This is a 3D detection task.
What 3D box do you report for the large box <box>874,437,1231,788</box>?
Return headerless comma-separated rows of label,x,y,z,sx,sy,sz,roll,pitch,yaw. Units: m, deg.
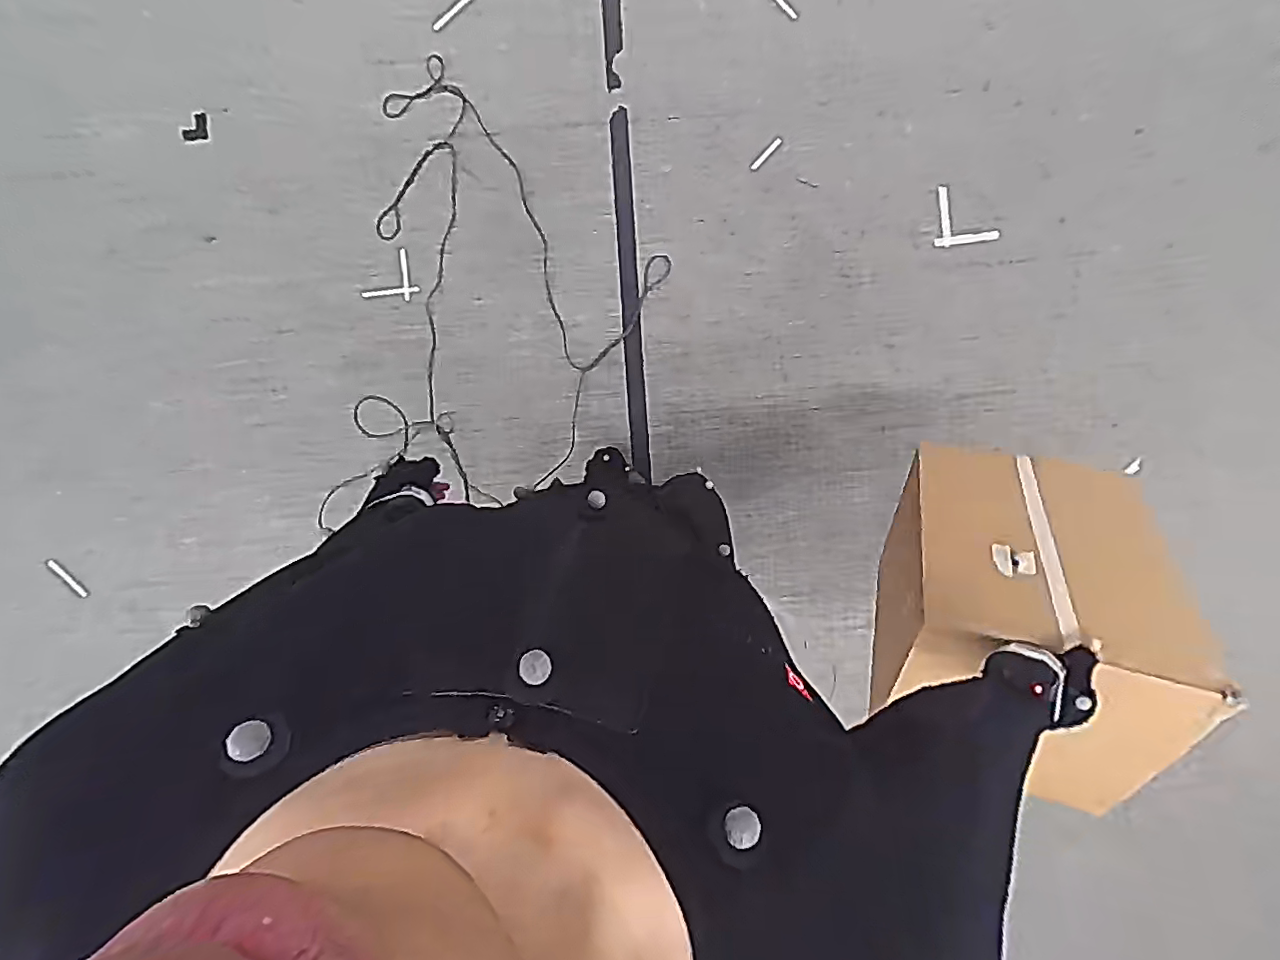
large box,0.575,0.187,0.868,0.320,0.408,0.320,10,133,17
